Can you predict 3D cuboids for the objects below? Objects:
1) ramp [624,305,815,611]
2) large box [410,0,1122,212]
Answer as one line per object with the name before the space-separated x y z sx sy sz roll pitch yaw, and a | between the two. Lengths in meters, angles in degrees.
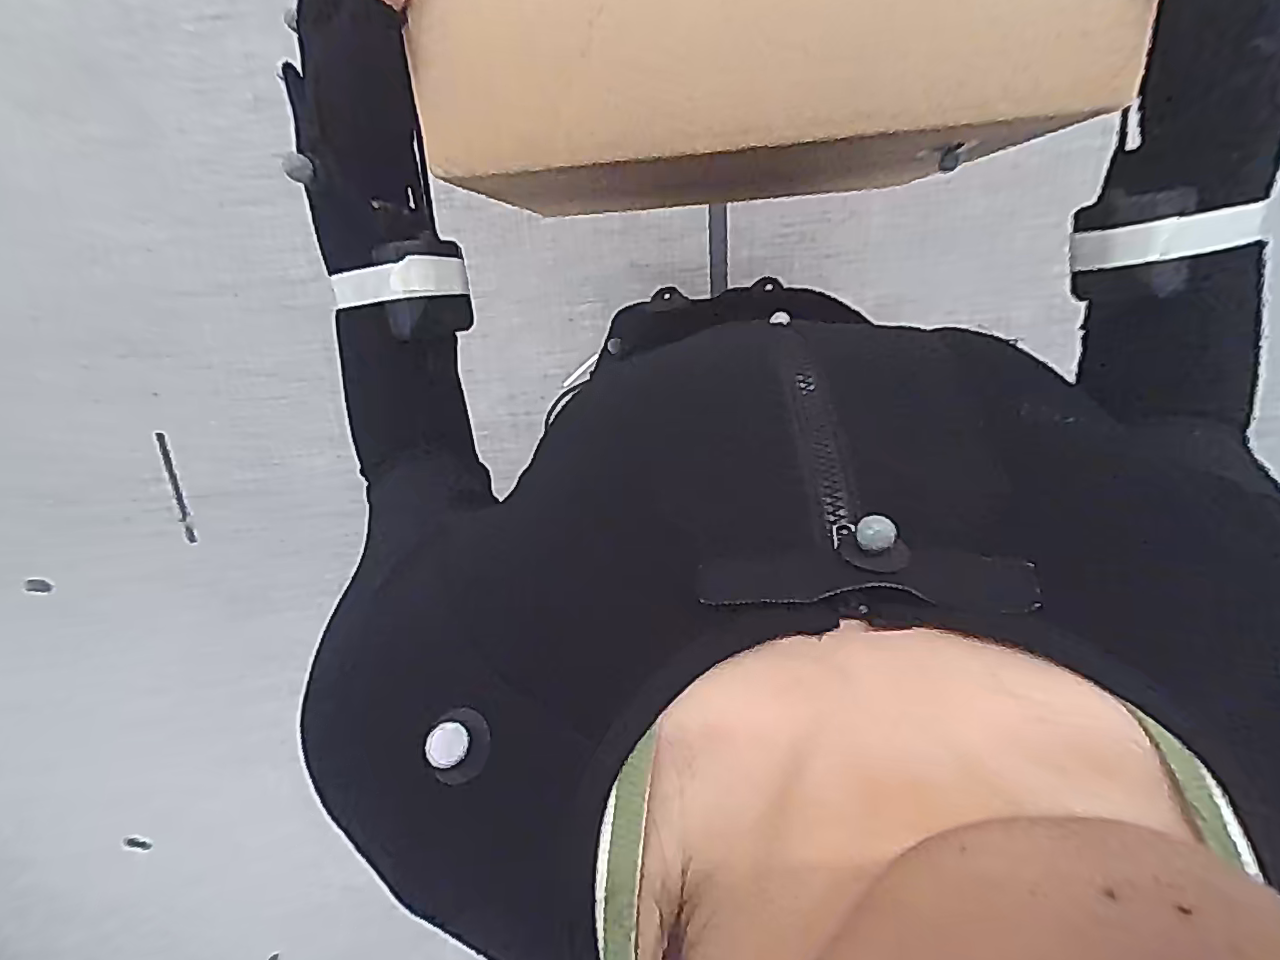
ramp | 0.246 0.004 1.616 0.509 0.206 0.991 -5 108 5
large box | 0.068 -0.401 0.411 0.408 0.320 0.320 -3 111 5
